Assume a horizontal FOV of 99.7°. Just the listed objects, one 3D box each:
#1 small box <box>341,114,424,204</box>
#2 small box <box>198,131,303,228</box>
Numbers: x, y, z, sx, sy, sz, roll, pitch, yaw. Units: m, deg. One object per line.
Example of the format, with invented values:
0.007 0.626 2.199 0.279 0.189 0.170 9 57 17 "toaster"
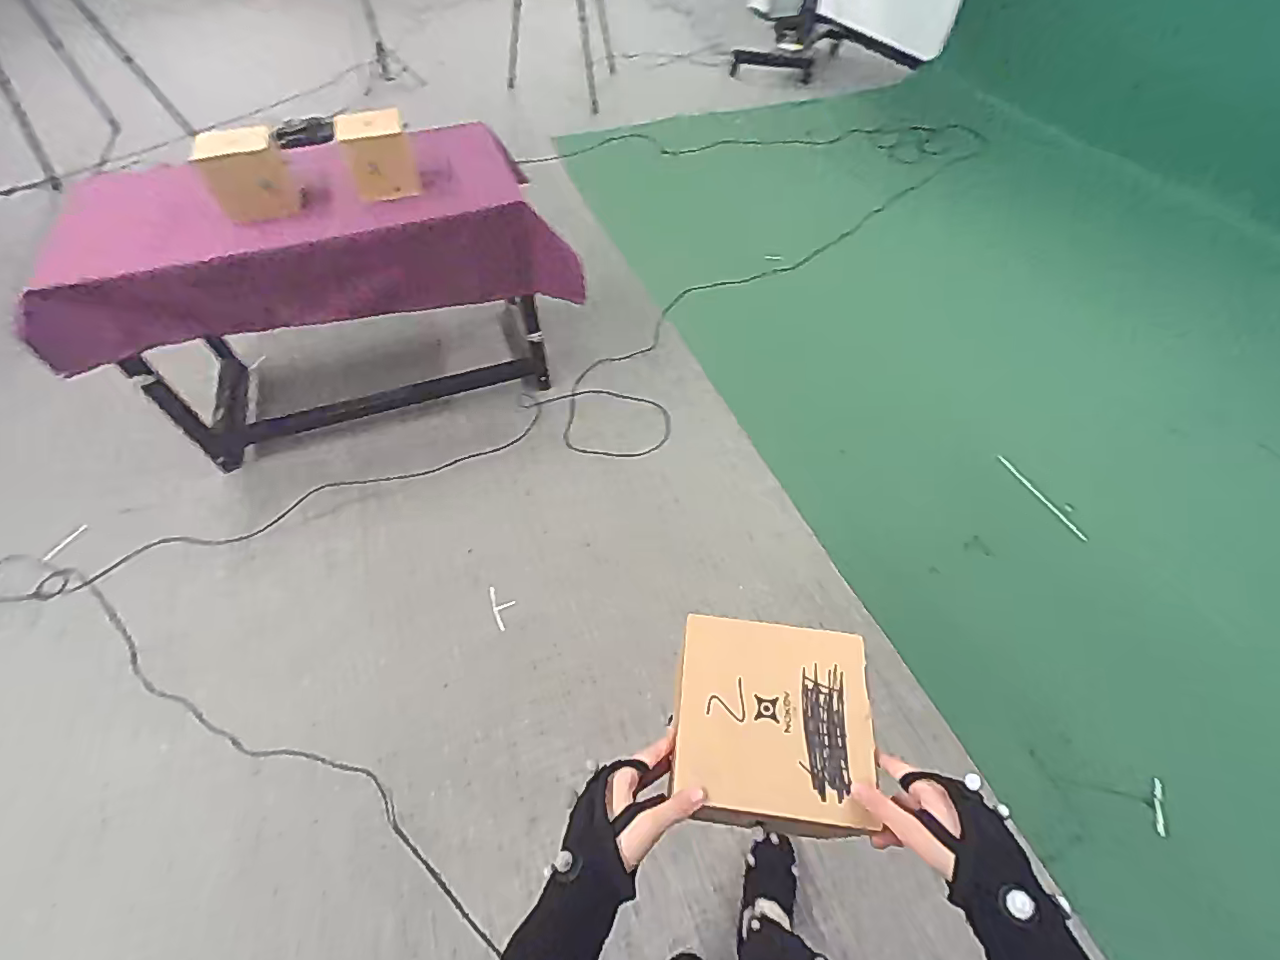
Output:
-0.726 -0.903 1.532 0.168 0.176 0.179 -16 53 -11 "small box"
-1.041 -0.812 1.465 0.179 0.176 0.168 -17 54 -12 "small box"
